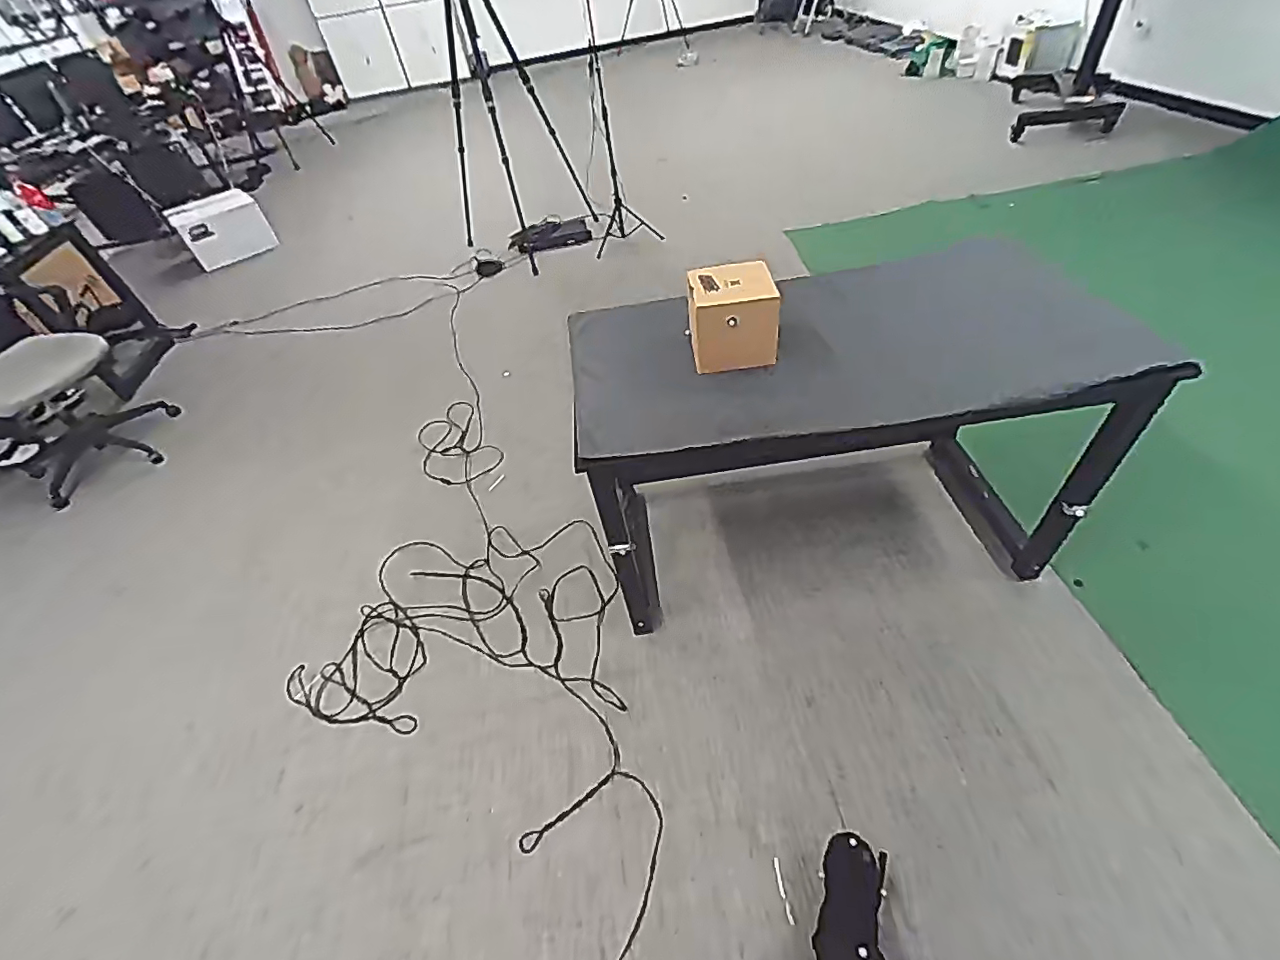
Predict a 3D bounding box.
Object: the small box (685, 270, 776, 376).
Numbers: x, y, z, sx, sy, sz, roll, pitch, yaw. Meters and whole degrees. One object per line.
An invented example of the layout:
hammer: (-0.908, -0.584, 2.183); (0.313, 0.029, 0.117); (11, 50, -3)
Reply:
small box: (0.201, -0.351, 1.224); (0.179, 0.176, 0.168); (-6, 46, 2)
